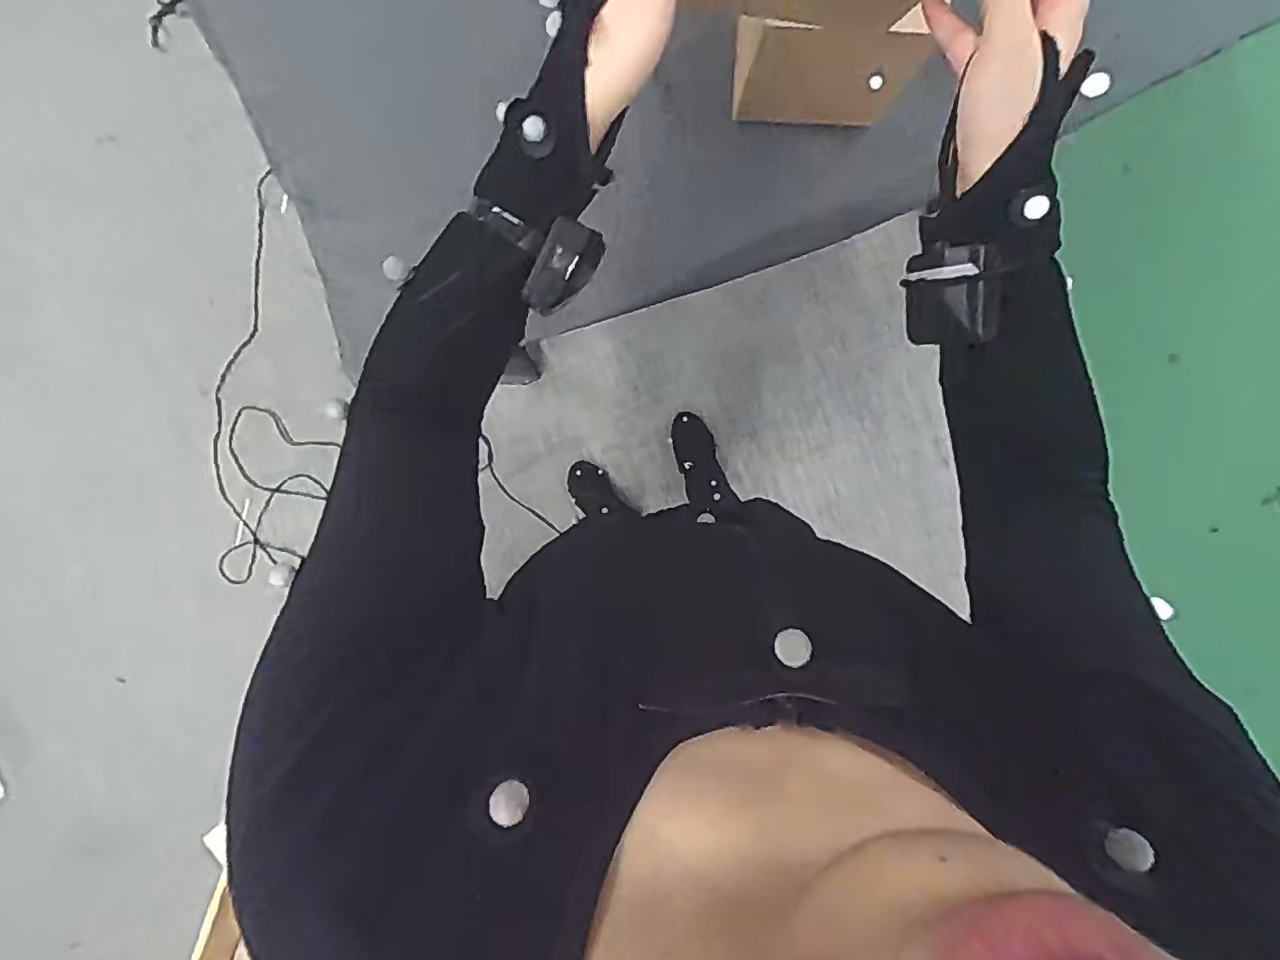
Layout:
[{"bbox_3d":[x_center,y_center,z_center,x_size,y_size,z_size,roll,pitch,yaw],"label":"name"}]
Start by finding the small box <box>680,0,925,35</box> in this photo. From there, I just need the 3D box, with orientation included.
[{"bbox_3d":[0.122,-0.401,0.322,0.179,0.176,0.168,7,112,-2],"label":"small box"}]
